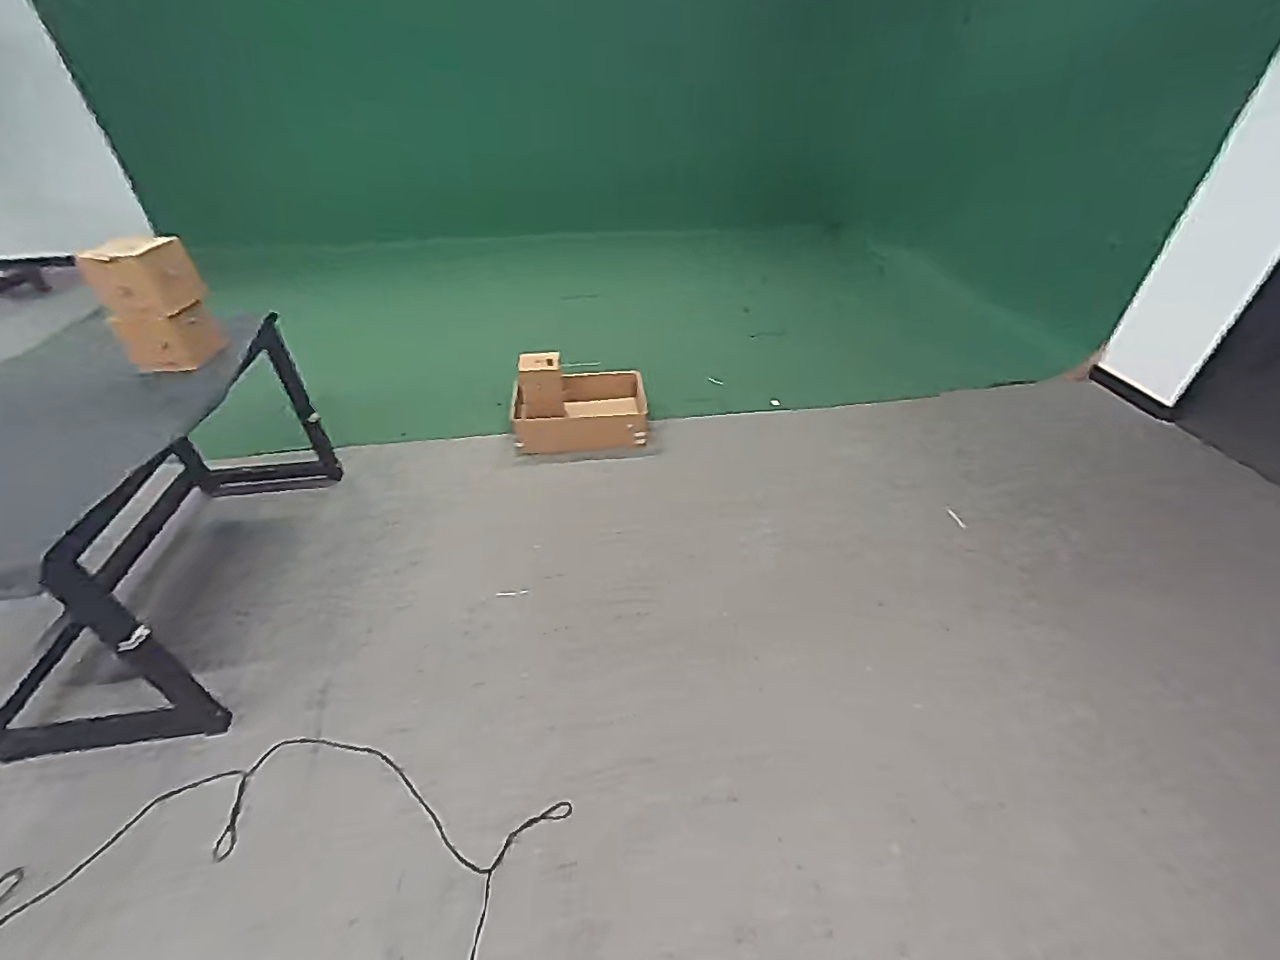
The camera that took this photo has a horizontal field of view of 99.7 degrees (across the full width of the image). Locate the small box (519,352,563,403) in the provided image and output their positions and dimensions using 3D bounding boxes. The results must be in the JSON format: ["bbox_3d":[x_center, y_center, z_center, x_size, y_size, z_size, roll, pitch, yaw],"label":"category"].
[{"bbox_3d":[-0.445,-0.463,2.449,0.179,0.176,0.168,-4,40,-4],"label":"small box"}]

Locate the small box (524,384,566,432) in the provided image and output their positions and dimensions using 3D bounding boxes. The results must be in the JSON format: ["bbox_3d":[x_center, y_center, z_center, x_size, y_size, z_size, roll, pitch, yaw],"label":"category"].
[{"bbox_3d":[-0.447,-0.340,2.558,0.179,0.176,0.168,-3,41,-6],"label":"small box"}]

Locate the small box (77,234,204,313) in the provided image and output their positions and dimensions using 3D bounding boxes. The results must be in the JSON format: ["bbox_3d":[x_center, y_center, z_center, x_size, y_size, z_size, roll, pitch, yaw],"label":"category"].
[{"bbox_3d":[-1.393,-0.582,1.529,0.168,0.176,0.179,-1,40,-1],"label":"small box"}]

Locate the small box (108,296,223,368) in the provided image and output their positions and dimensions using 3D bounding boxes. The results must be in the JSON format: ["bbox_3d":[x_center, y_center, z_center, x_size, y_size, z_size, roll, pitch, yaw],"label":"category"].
[{"bbox_3d":[-1.408,-0.446,1.623,0.168,0.176,0.179,-3,39,-3],"label":"small box"}]
